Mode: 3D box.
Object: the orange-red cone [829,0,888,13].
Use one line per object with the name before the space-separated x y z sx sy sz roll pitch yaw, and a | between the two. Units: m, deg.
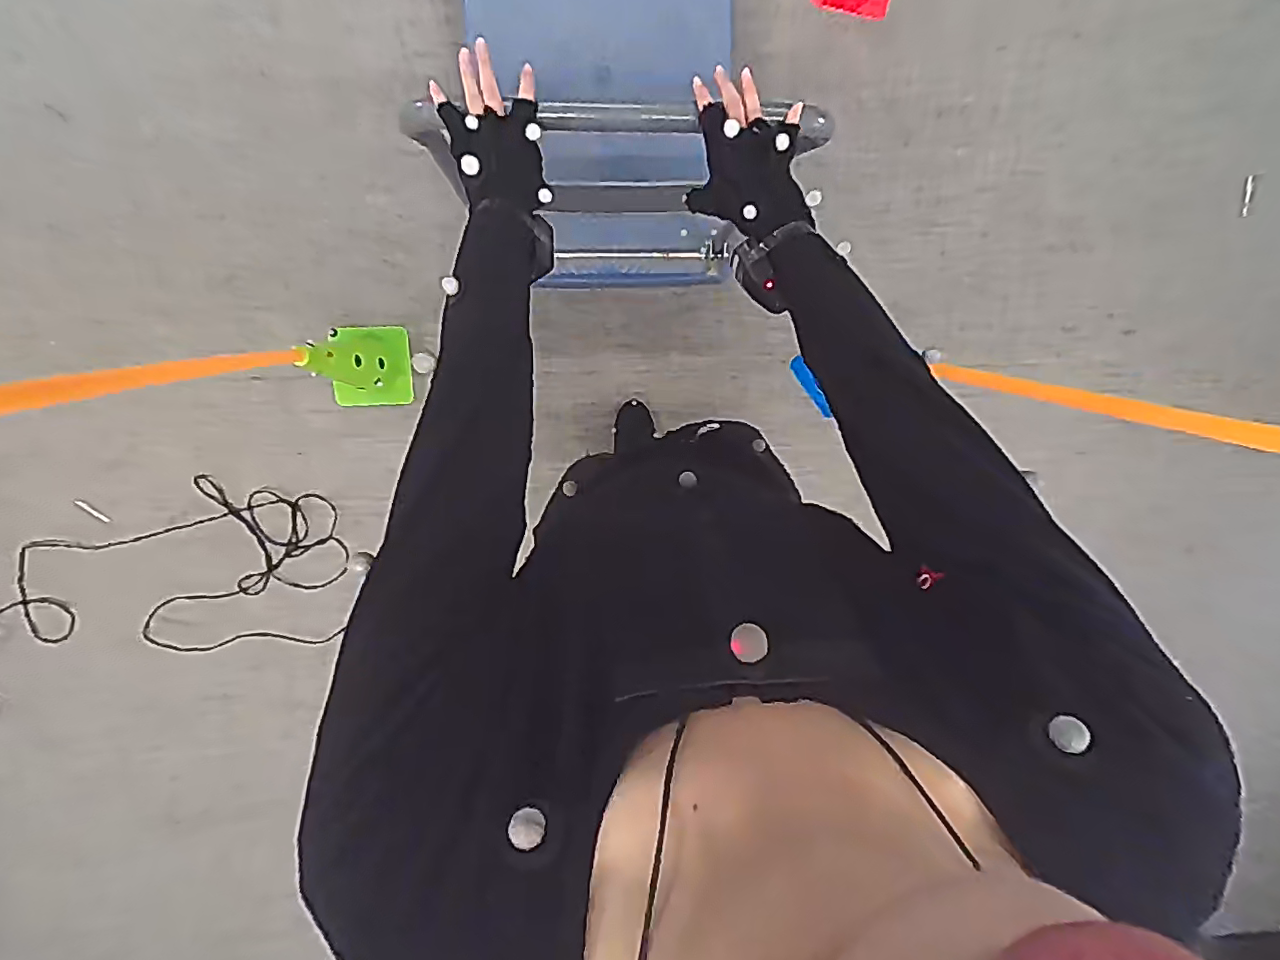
orange-red cone | 0.548 -1.253 1.167 0.198 0.360 0.199 10 99 -5
